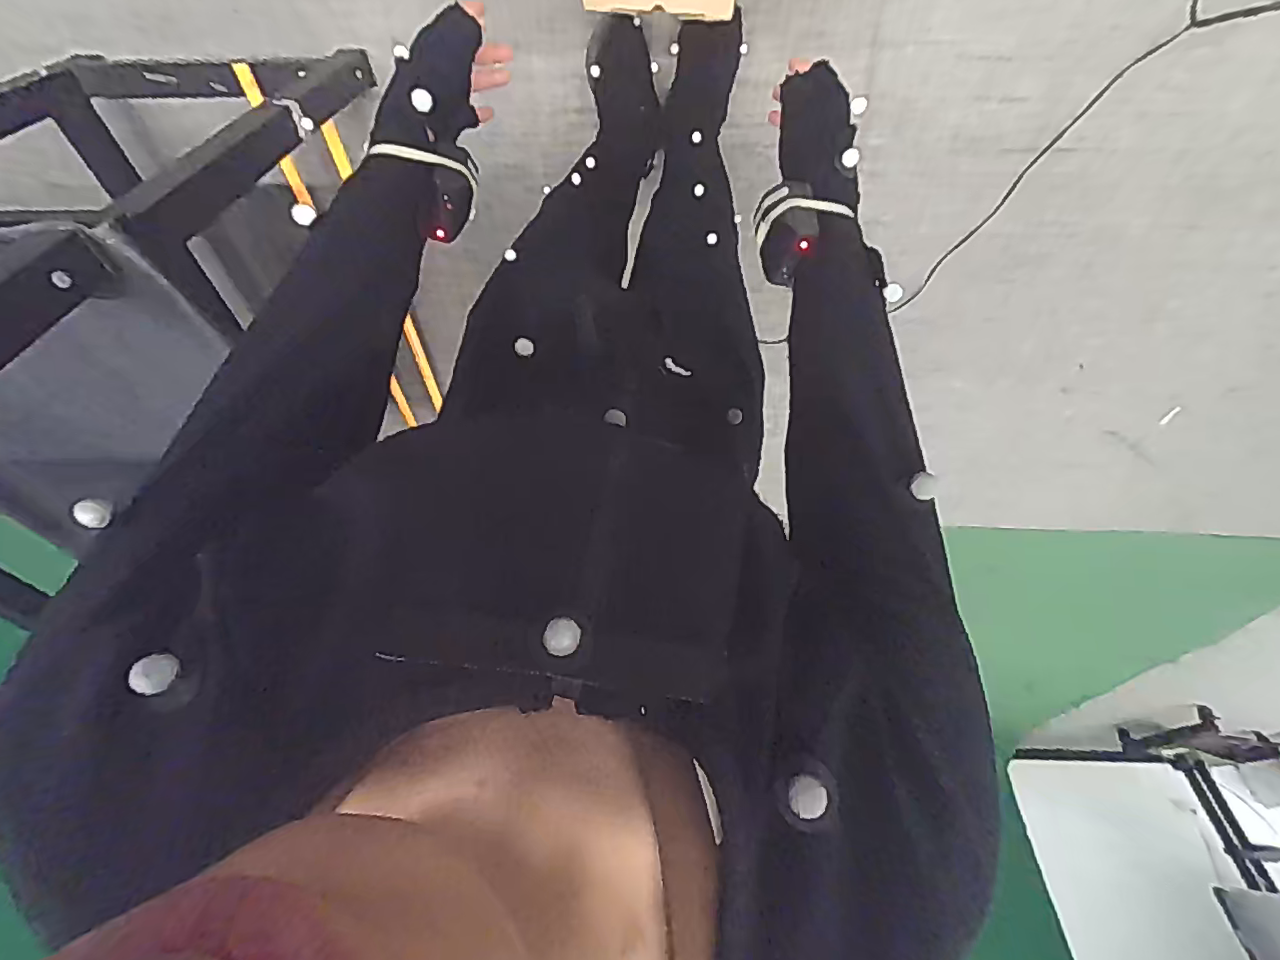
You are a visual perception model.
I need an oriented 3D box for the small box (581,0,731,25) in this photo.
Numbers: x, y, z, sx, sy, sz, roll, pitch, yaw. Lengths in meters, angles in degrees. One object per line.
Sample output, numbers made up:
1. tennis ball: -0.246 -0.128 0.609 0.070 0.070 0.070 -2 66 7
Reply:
1. small box: 0.025 -0.625 0.581 0.168 0.176 0.179 3 140 -1
